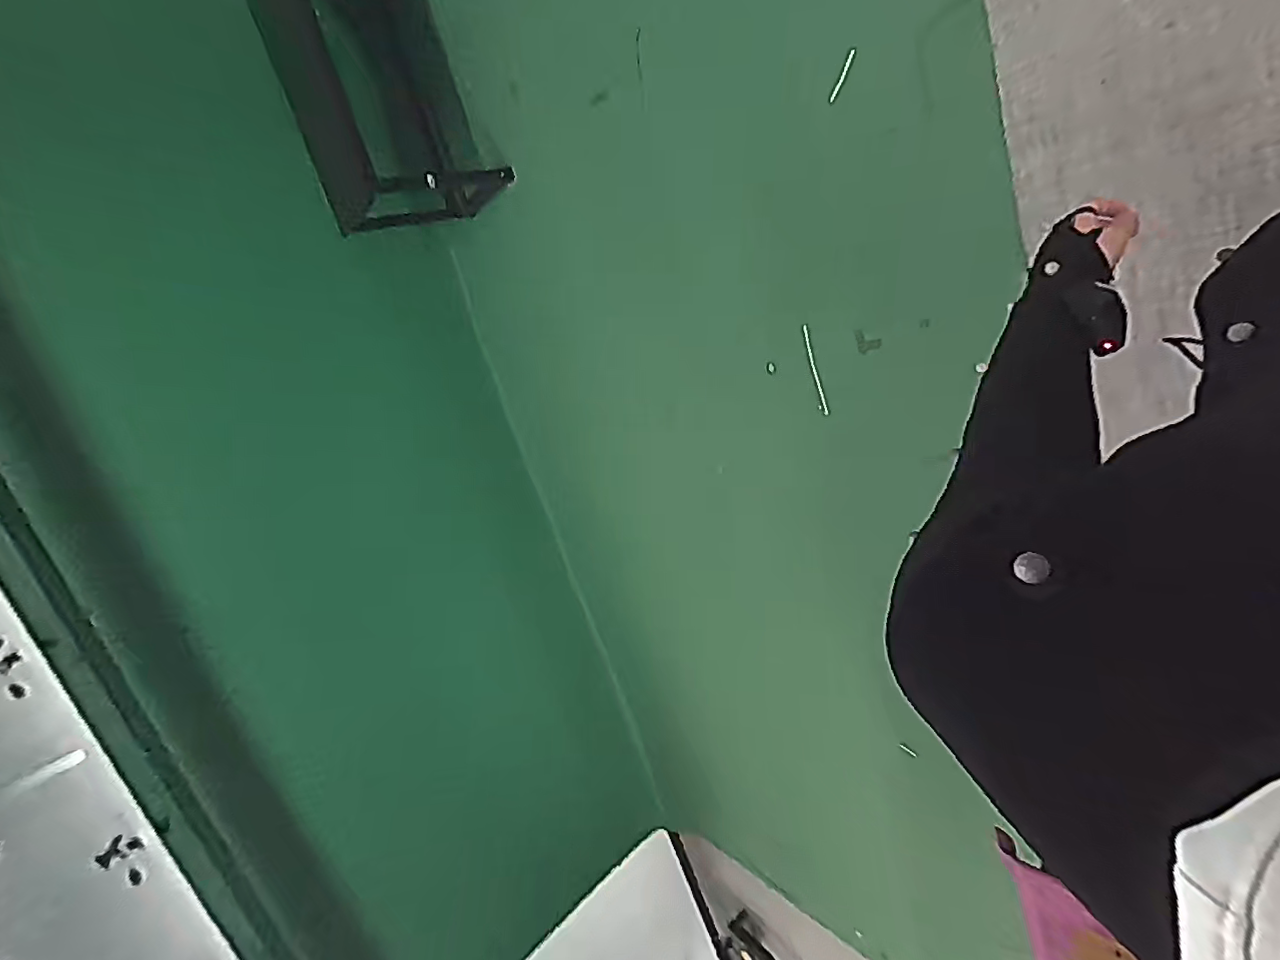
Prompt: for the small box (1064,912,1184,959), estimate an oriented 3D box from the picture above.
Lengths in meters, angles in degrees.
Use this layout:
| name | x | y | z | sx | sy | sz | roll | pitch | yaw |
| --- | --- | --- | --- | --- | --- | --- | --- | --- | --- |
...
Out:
| name | x | y | z | sx | sy | sz | roll | pitch | yaw |
| --- | --- | --- | --- | --- | --- | --- | --- | --- | --- |
| small box | 0.900 | 0.964 | 0.989 | 0.168 | 0.176 | 0.179 | -2 | 111 | 53 |
